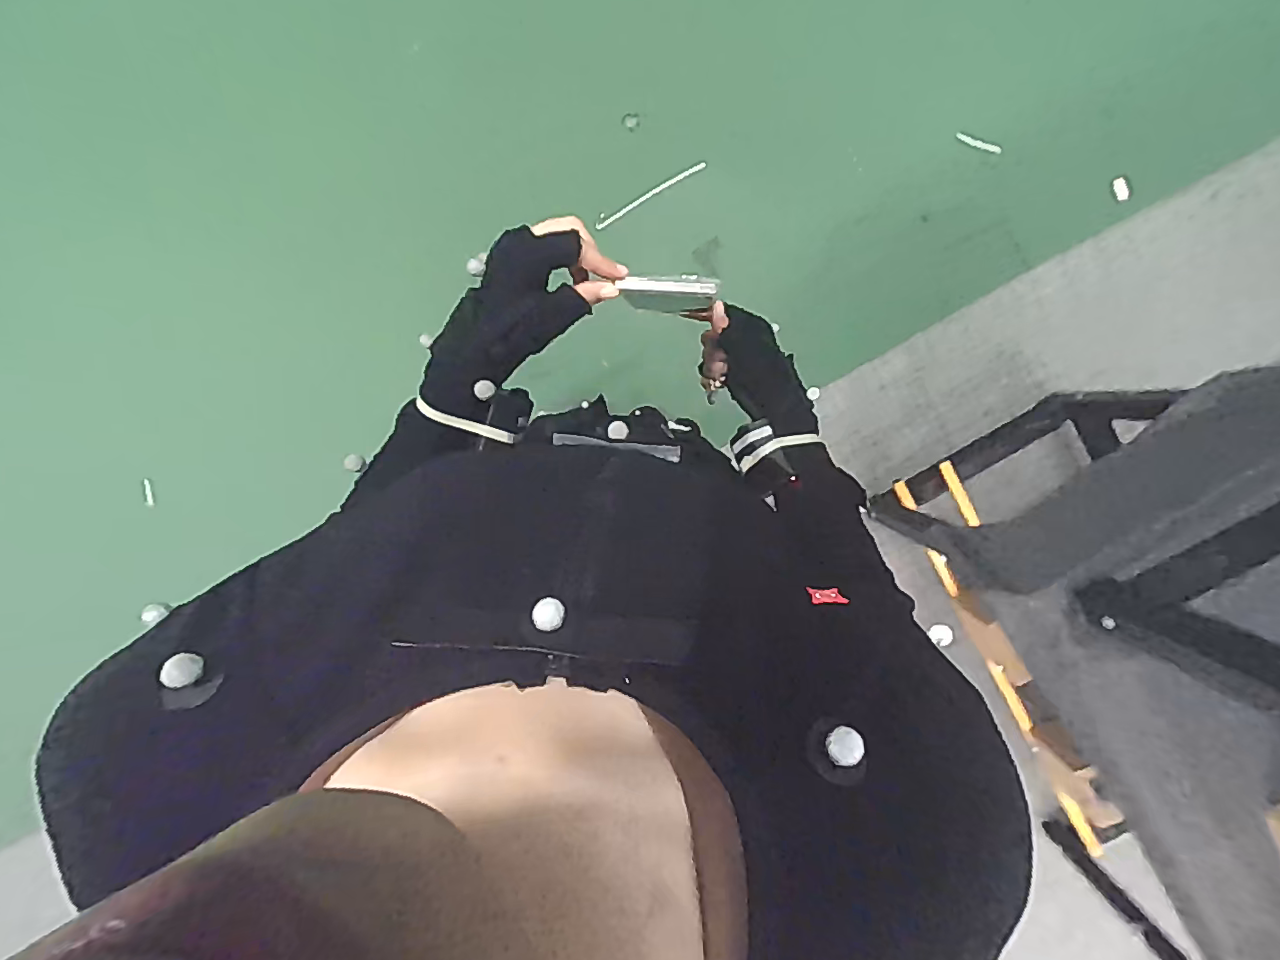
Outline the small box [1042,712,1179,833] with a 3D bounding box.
[{"bbox_3d":[1.143,0.713,1.335,0.179,0.176,0.168,-27,96,6],"label":"small box"}]
